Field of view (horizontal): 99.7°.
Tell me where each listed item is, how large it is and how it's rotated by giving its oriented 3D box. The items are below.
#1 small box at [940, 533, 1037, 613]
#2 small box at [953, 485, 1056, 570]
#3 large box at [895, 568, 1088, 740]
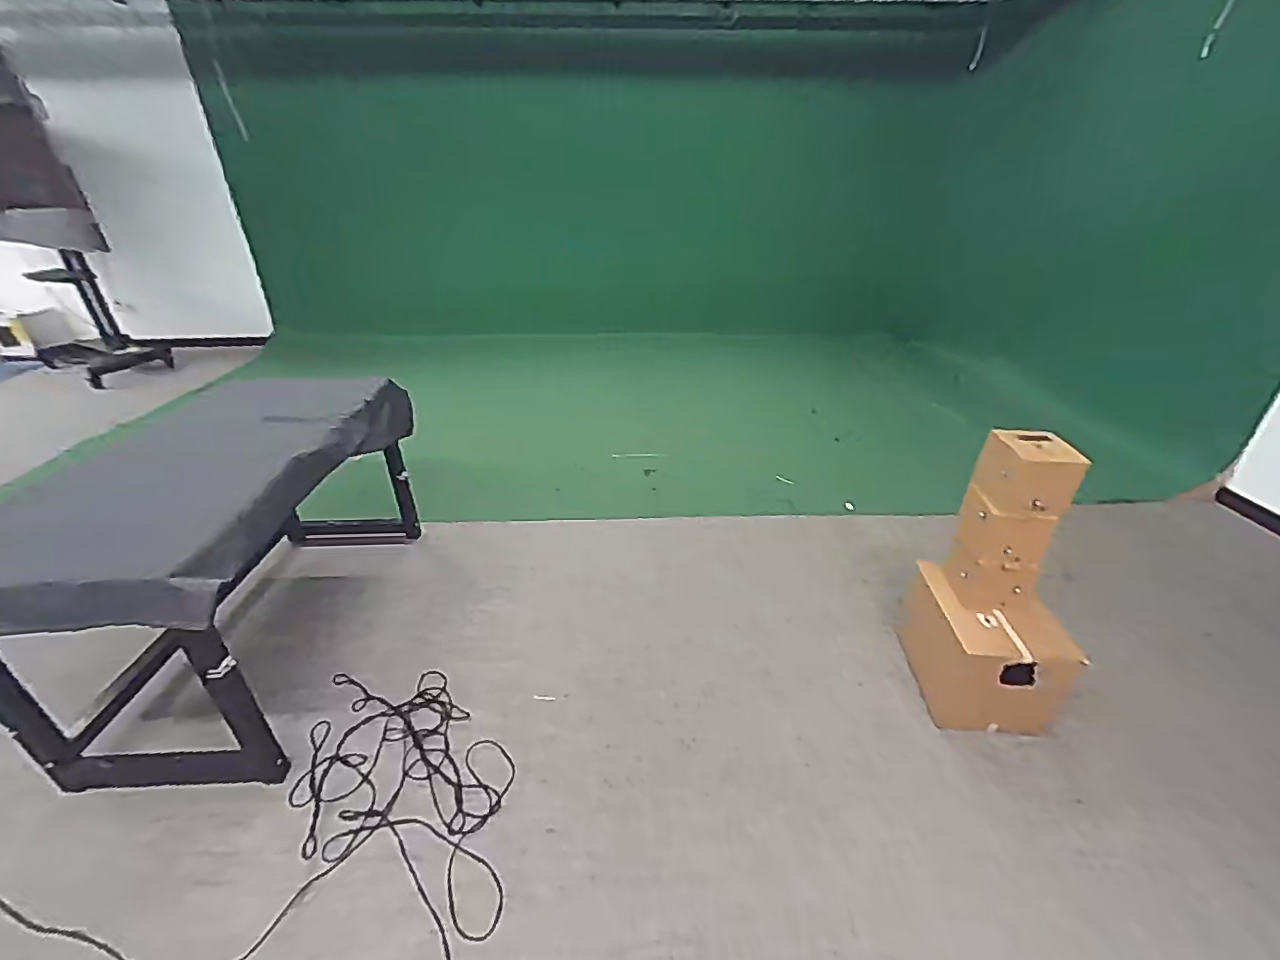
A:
[{"bbox_3d":[1.034,0.279,1.618,0.168,0.176,0.179,3,29,4],"label":"small box"},{"bbox_3d":[1.027,0.134,1.545,0.168,0.176,0.179,4,30,5],"label":"small box"},{"bbox_3d":[1.043,0.524,1.676,0.320,0.320,0.408,1,30,5],"label":"large box"}]
